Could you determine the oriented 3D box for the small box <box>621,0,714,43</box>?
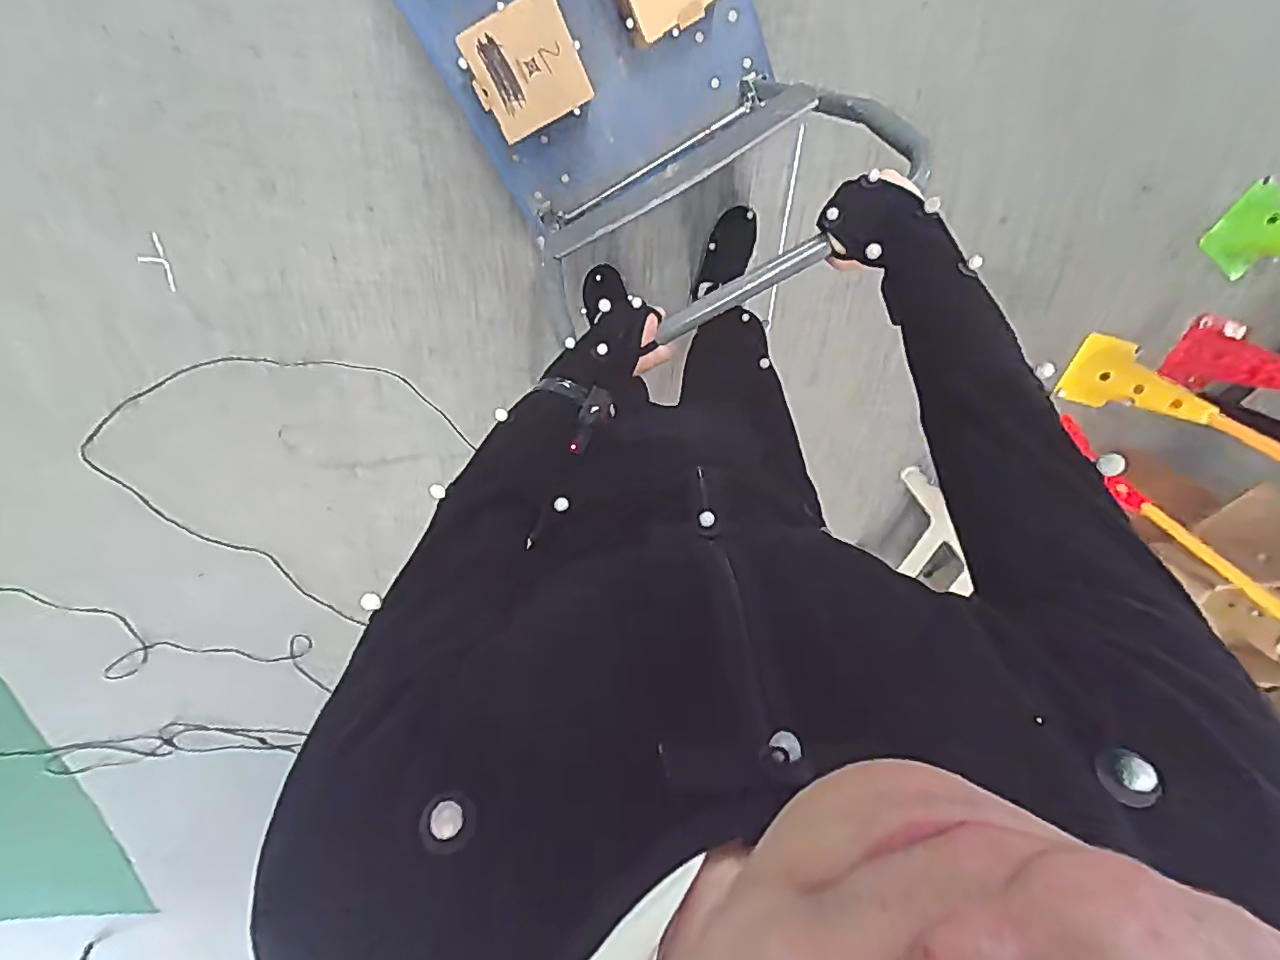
[{"bbox_3d":[0.039,-0.873,0.902,0.168,0.176,0.179,-26,126,11],"label":"small box"}]
